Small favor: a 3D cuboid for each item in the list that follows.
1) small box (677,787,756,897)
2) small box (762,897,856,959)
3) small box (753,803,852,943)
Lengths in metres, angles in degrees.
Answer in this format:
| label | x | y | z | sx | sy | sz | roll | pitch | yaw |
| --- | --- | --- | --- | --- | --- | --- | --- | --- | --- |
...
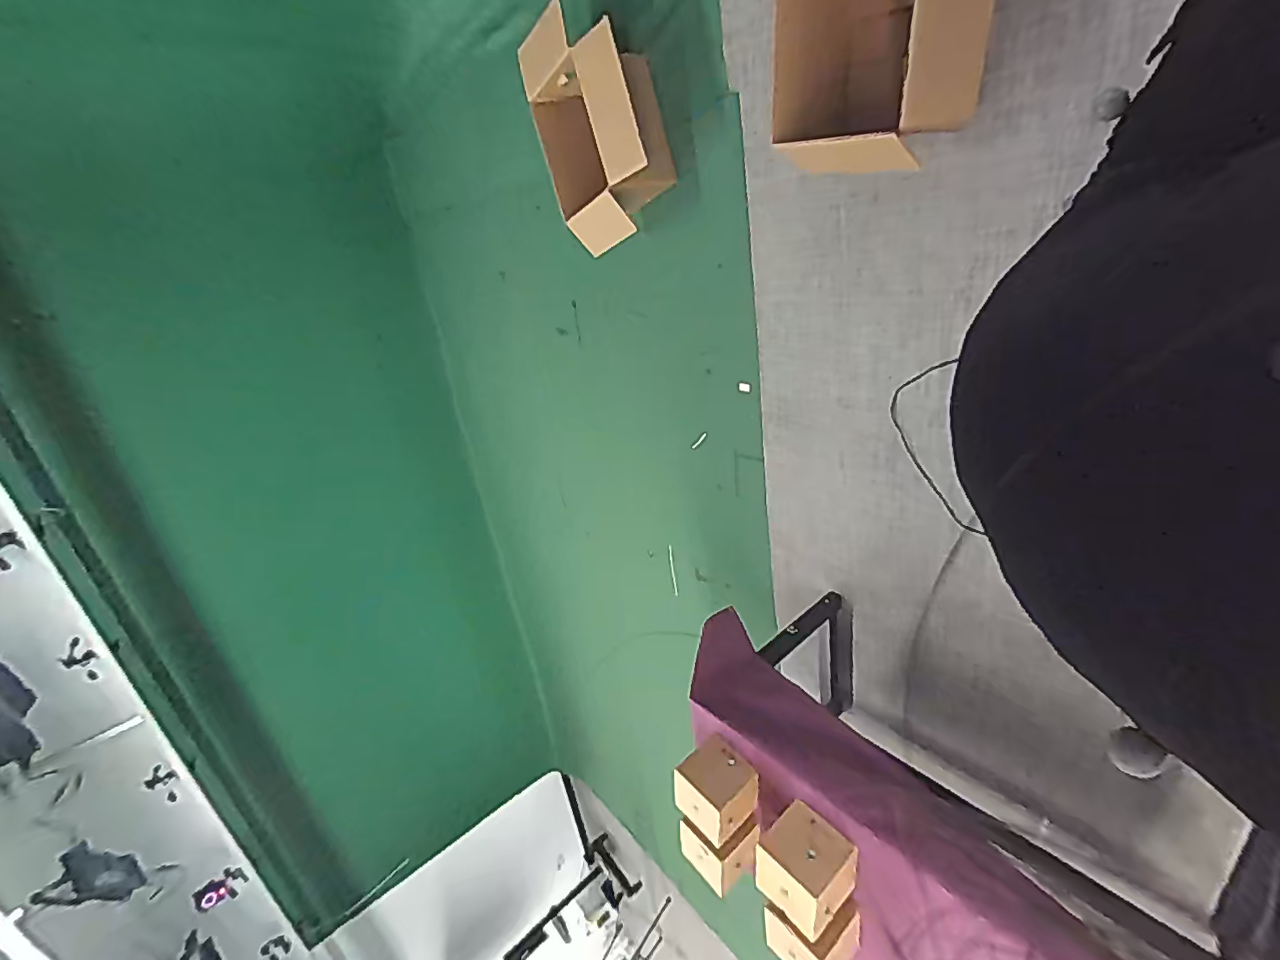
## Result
| label | x | y | z | sx | sy | sz | roll | pitch | yaw |
| --- | --- | --- | --- | --- | --- | --- | --- | --- | --- |
| small box | 0.227 | 1.064 | 1.599 | 0.168 | 0.176 | 0.179 | 25 | 130 | 43 |
| small box | 0.429 | 1.136 | 1.371 | 0.168 | 0.176 | 0.179 | 20 | 126 | 47 |
| small box | 0.389 | 0.929 | 1.296 | 0.168 | 0.176 | 0.179 | 23 | 128 | 45 |
